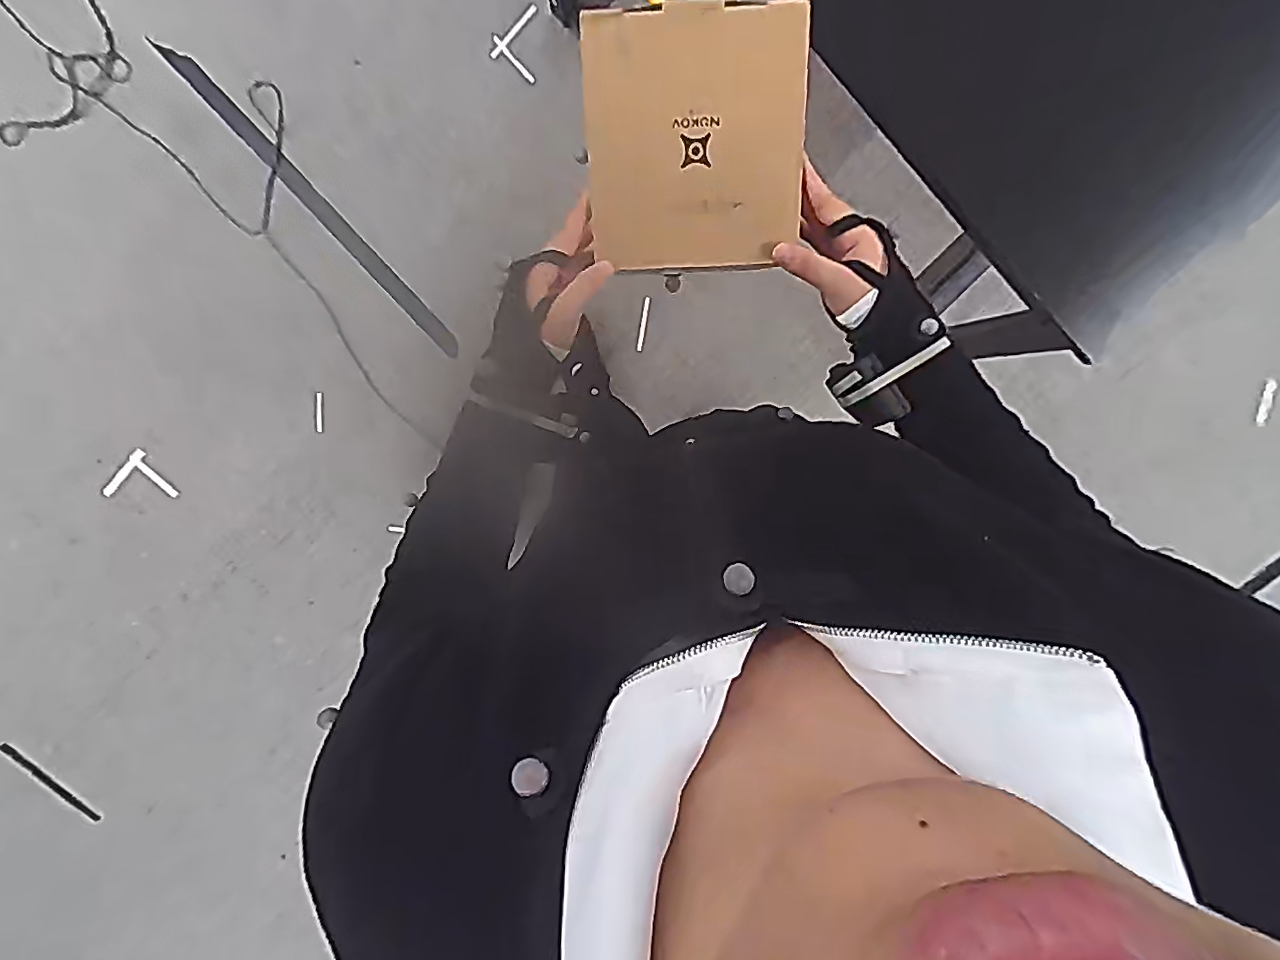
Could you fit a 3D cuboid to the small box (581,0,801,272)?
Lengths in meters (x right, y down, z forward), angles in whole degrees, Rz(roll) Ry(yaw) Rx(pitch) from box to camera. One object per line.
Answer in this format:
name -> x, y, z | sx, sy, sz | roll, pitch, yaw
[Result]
small box -> 0.038, -0.289, 0.493 | 0.168, 0.176, 0.179 | -2, 109, 1
